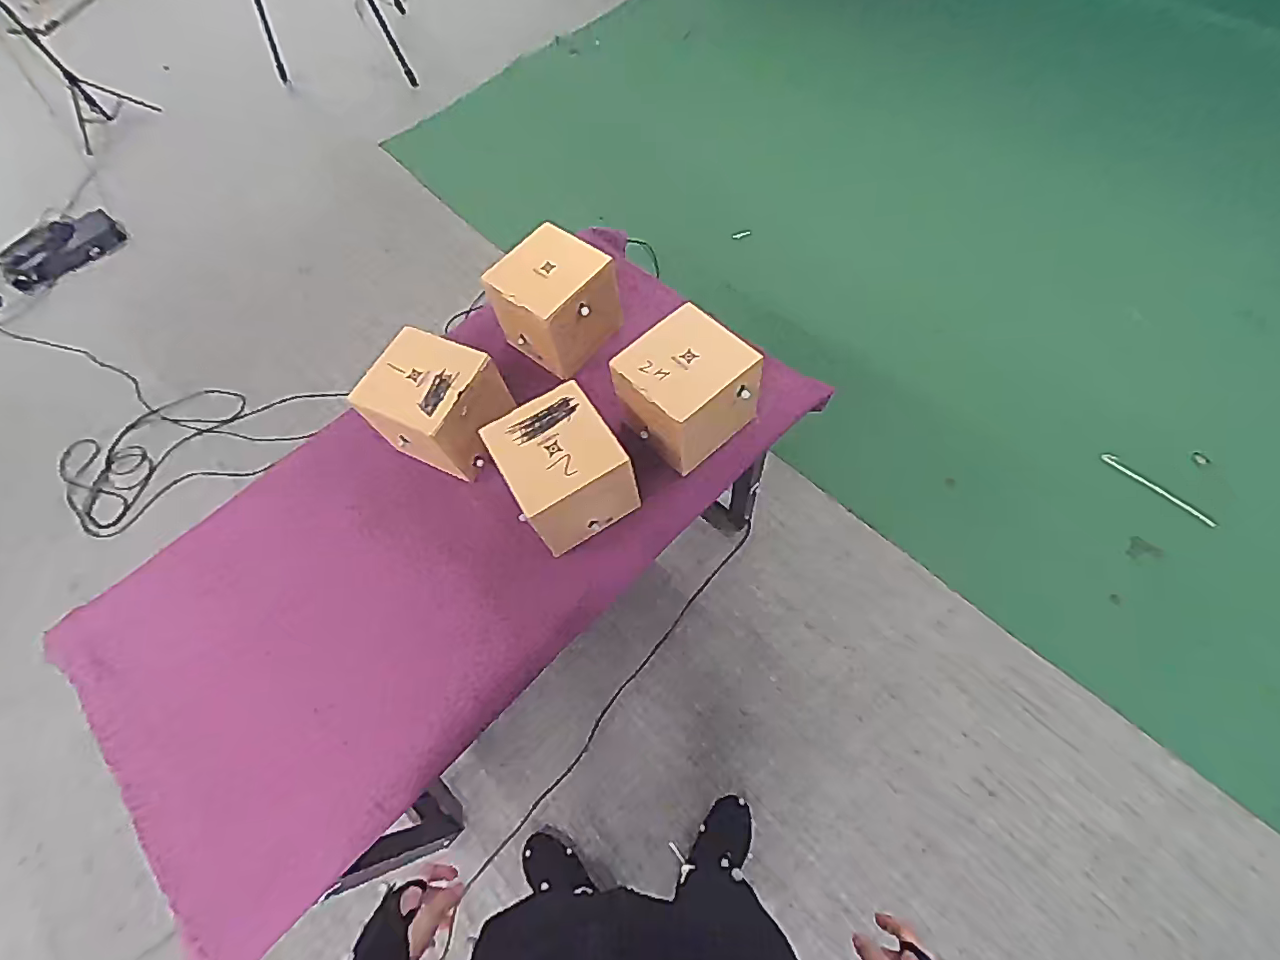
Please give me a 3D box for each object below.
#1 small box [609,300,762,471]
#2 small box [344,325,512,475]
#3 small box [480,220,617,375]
[{"bbox_3d":[0.074,-0.150,0.888,0.179,0.176,0.168,-40,65,-12],"label":"small box"},{"bbox_3d":[-0.347,-0.128,0.927,0.179,0.176,0.168,22,69,15],"label":"small box"},{"bbox_3d":[-0.158,-0.334,1.005,0.168,0.176,0.179,36,74,20],"label":"small box"}]
